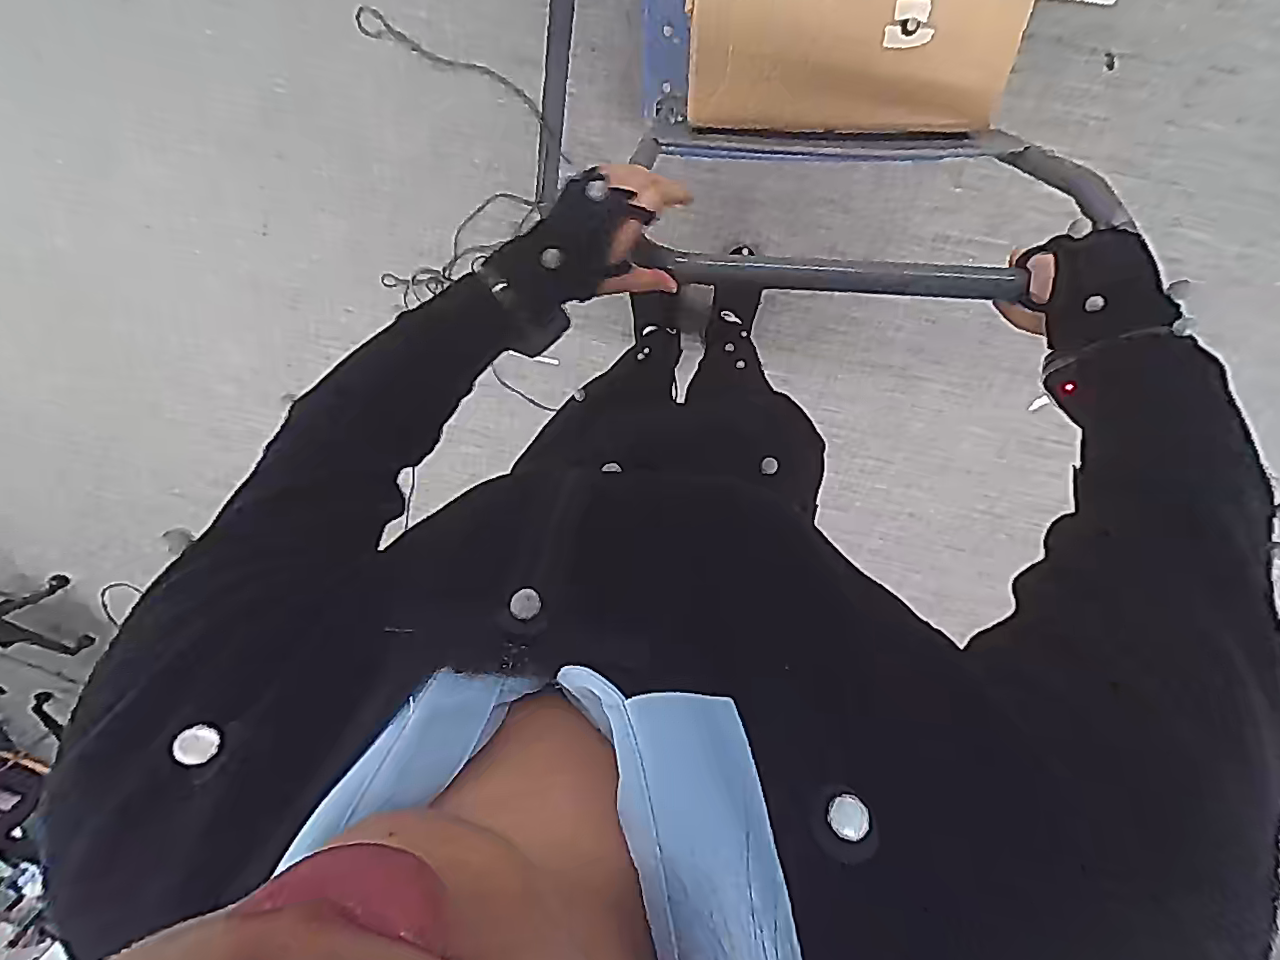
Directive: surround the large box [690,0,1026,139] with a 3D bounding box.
[{"bbox_3d":[0.278,-0.682,0.771,0.408,0.320,0.320,4,127,4],"label":"large box"}]
